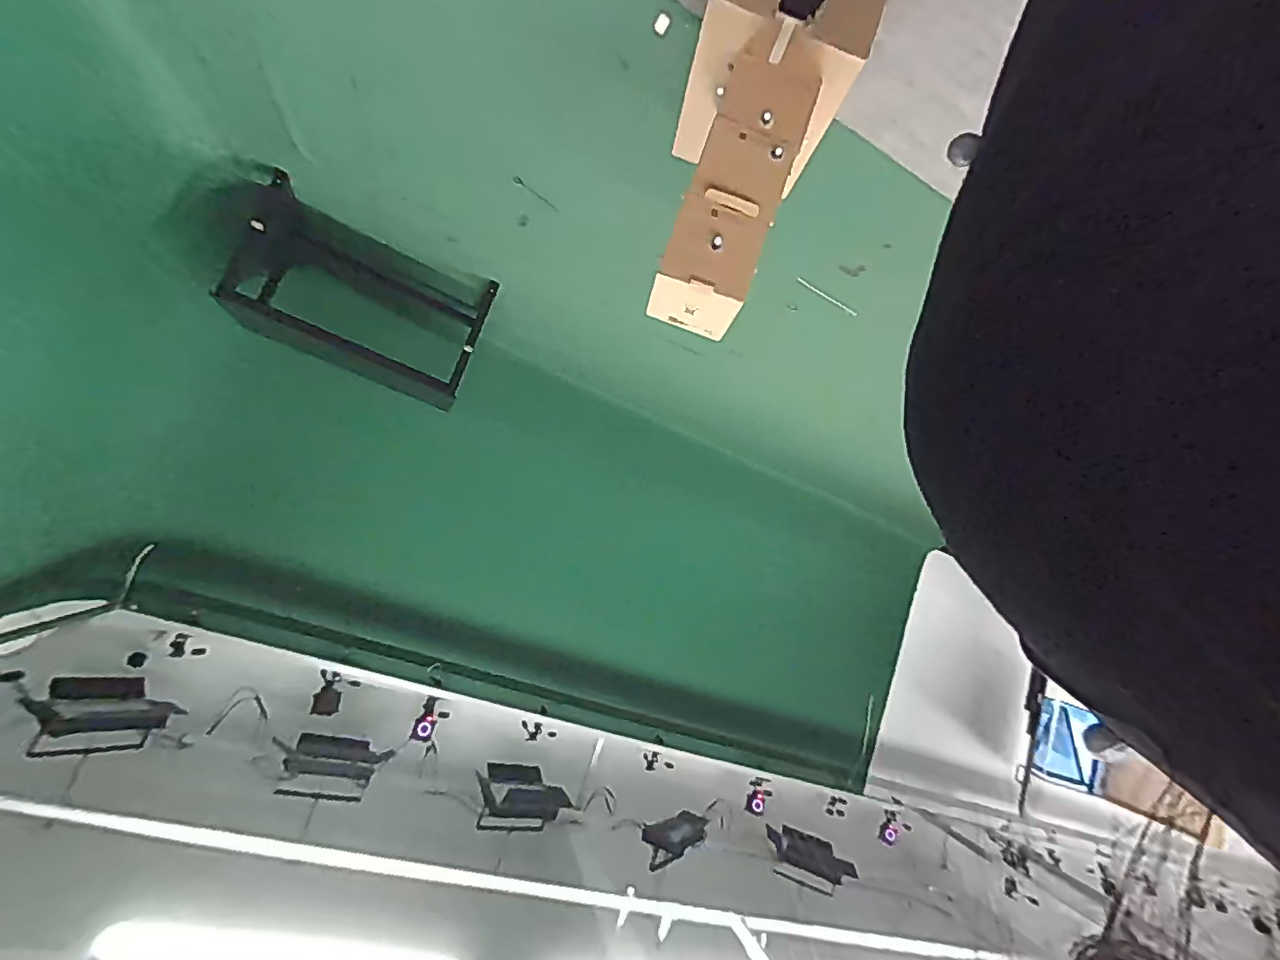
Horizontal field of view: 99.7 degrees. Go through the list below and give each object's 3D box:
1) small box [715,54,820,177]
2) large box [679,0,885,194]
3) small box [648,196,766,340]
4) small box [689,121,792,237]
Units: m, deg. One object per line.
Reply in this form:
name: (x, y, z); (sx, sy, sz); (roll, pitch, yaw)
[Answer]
small box: (0.241, -0.709, 1.100); (0.179, 0.176, 0.168); (20, 170, -4)
large box: (0.305, -0.934, 1.181); (0.320, 0.320, 0.408); (21, 172, -3)
small box: (0.128, -0.406, 1.045); (0.168, 0.176, 0.179); (20, 169, -3)
small box: (0.185, -0.558, 1.069); (0.168, 0.176, 0.179); (20, 171, -3)
